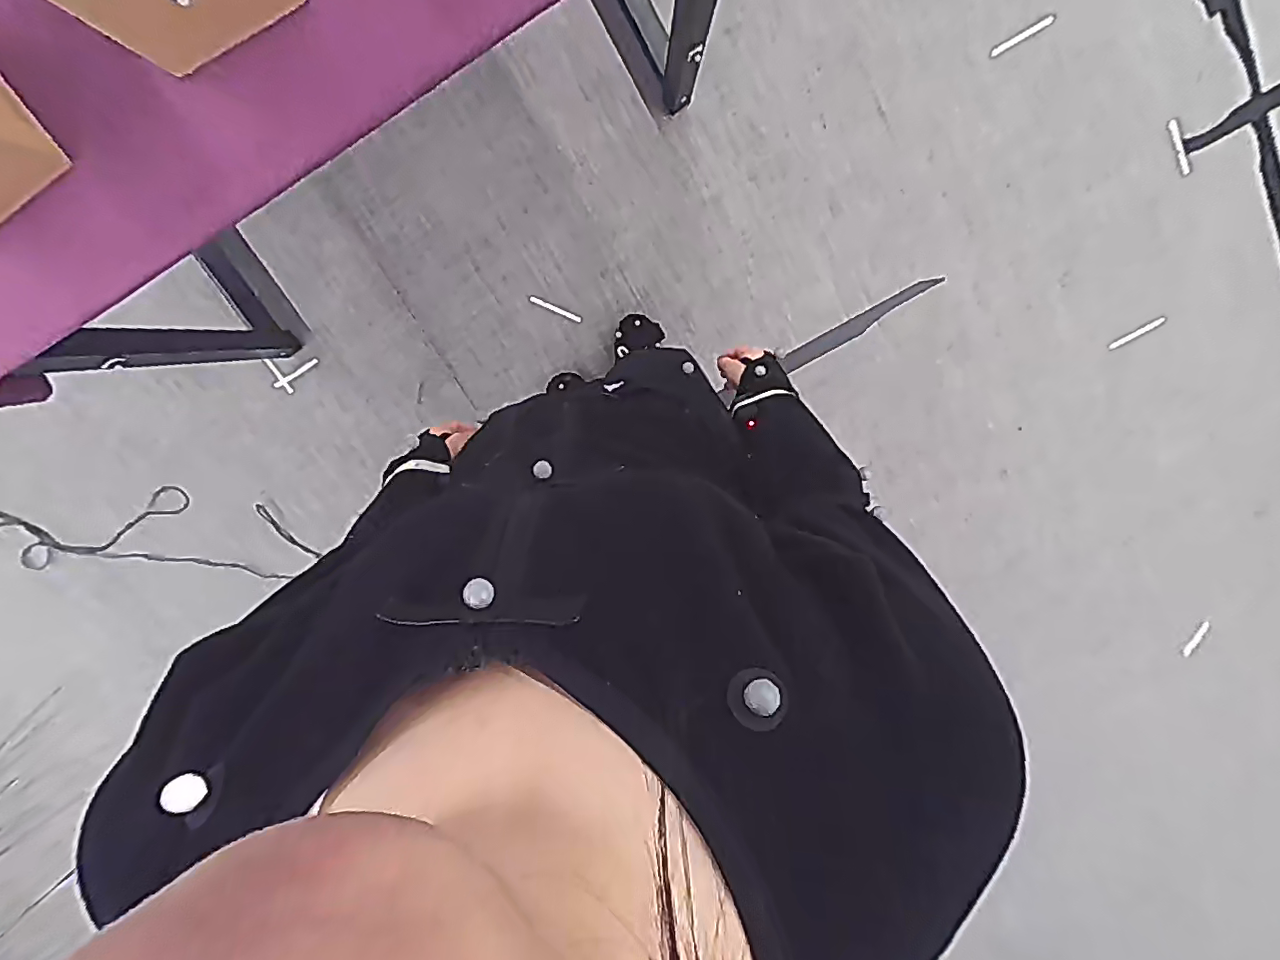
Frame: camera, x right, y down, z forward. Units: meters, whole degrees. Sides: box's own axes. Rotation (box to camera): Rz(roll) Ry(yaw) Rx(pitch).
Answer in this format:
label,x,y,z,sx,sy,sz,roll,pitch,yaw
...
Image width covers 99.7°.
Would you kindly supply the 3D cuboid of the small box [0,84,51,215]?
label,x,y,z,sx,sy,sz,roll,pitch,yaw
small box,-0.776,-0.372,0.543,0.179,0.176,0.168,-32,102,6
